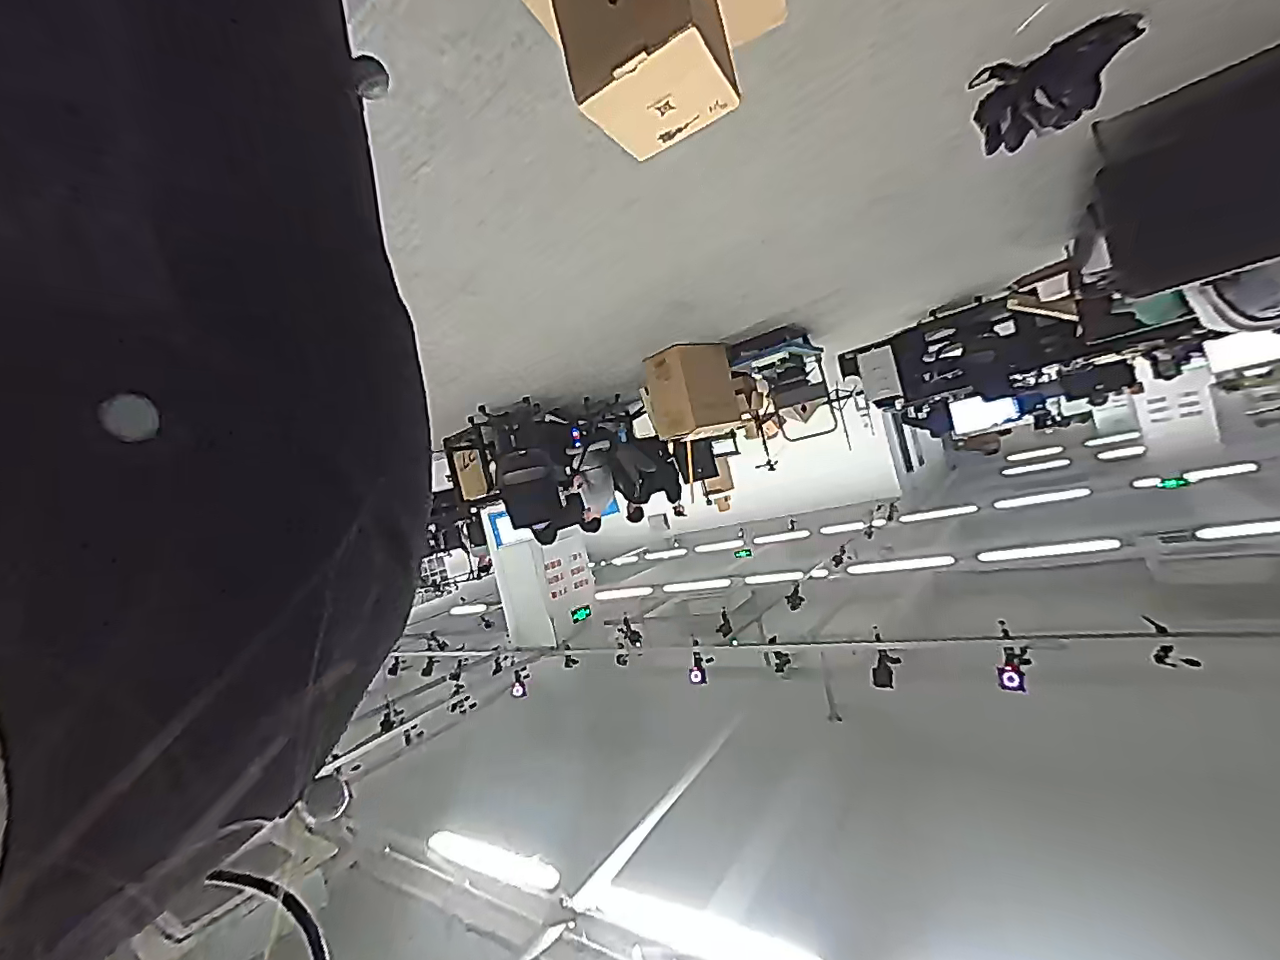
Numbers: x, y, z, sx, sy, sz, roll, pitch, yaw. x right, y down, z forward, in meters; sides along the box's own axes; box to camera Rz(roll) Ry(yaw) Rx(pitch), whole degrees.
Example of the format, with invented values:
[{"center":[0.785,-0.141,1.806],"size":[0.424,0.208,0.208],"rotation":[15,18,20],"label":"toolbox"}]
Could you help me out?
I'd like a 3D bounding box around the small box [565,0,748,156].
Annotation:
[{"center":[0.020,-0.570,0.694],"size":[0.168,0.176,0.179],"rotation":[-13,180,29],"label":"small box"}]
